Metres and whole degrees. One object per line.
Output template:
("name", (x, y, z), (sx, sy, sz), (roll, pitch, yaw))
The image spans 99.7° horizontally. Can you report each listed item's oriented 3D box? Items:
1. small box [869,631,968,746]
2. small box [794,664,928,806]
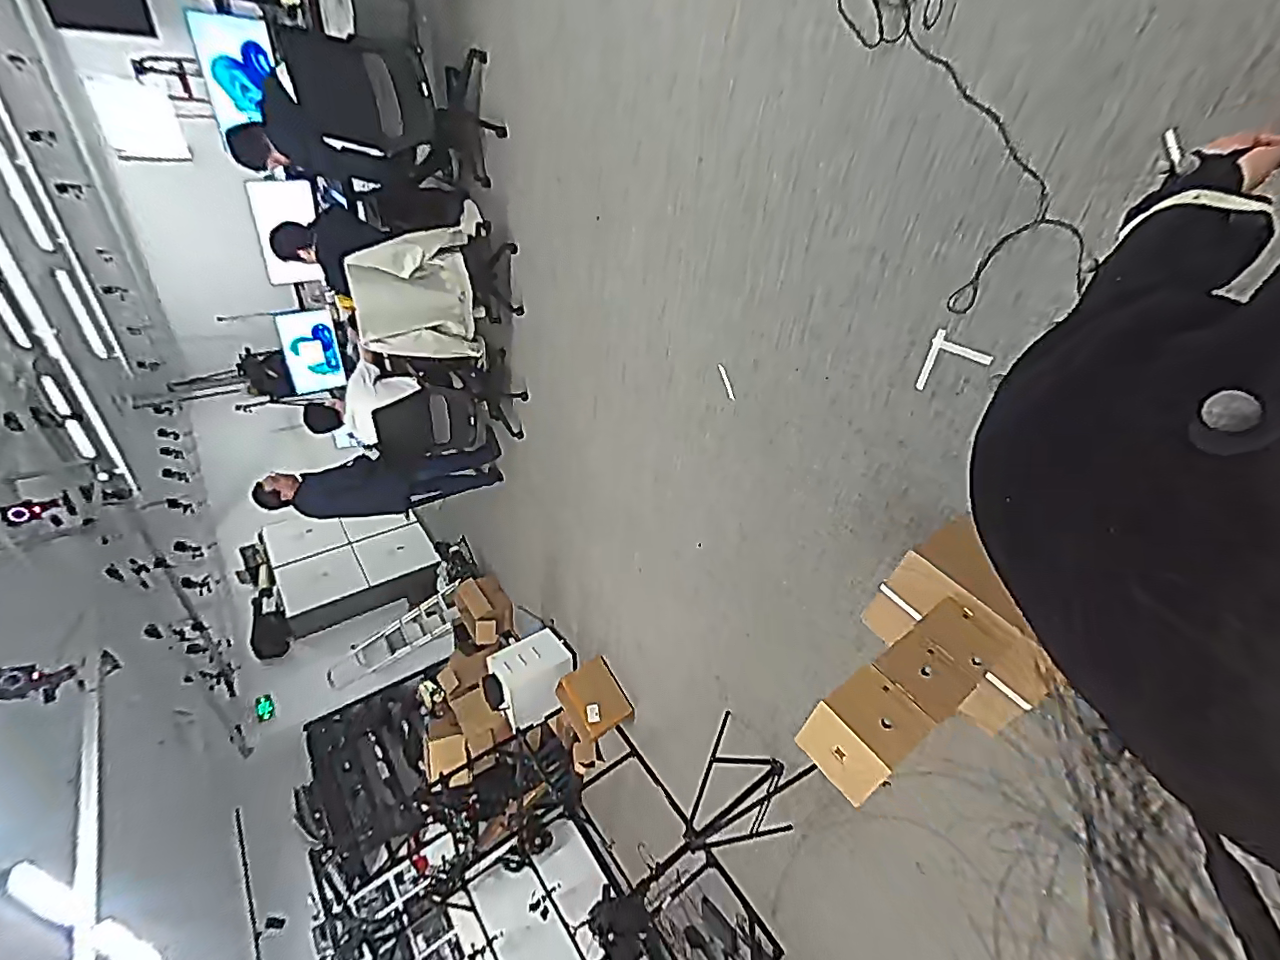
("small box", (0.584, 0.469, 1.195), (0.168, 0.176, 0.179), (46, 140, 33))
("small box", (0.454, 0.513, 1.107), (0.168, 0.176, 0.179), (44, 140, 34))
